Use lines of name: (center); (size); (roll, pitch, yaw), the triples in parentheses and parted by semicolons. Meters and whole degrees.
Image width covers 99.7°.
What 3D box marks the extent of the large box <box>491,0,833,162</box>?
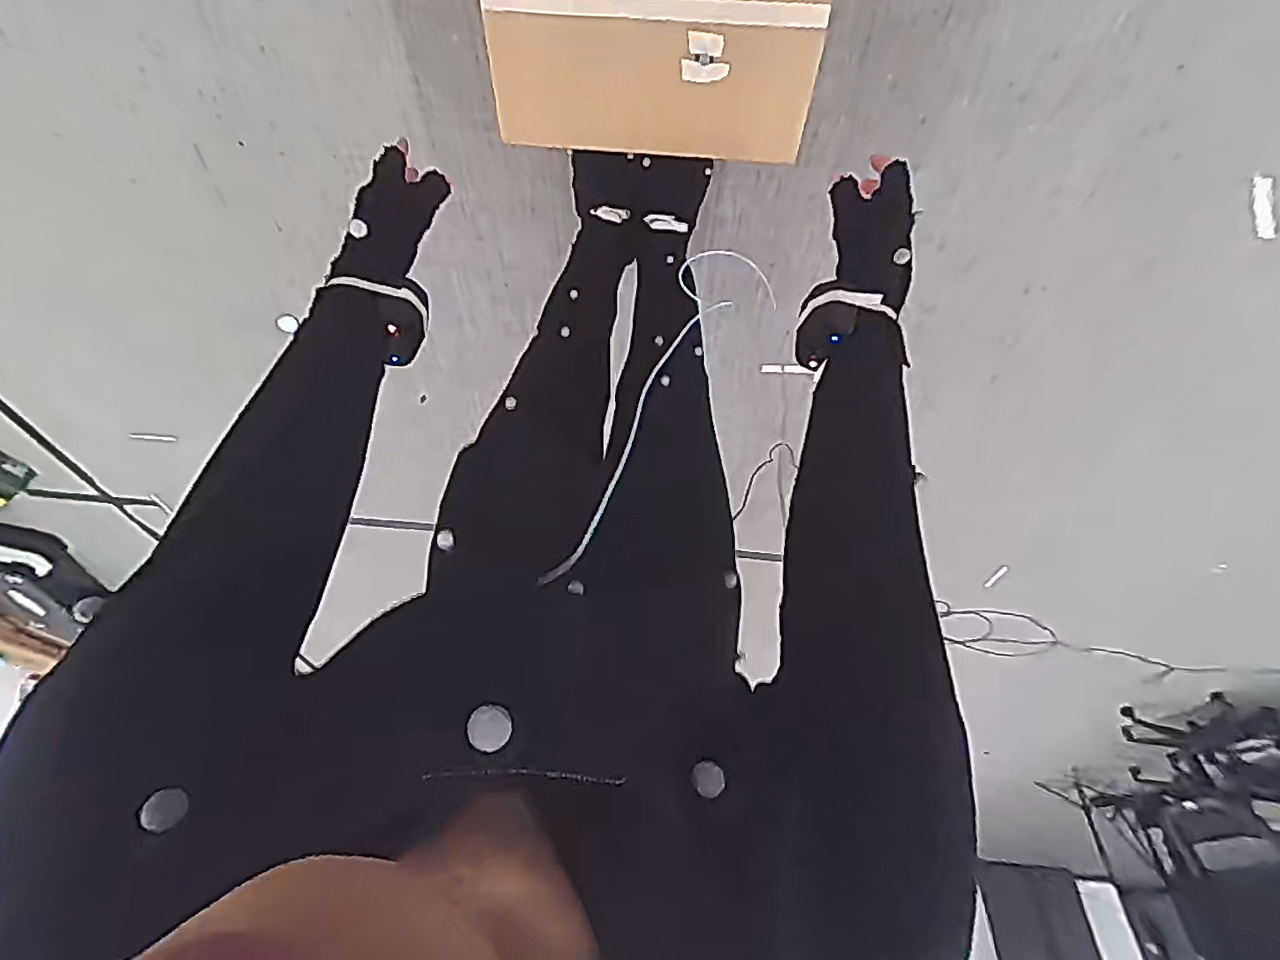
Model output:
large box: (0.031, -0.660, 0.726); (0.408, 0.320, 0.320); (5, 141, 1)
